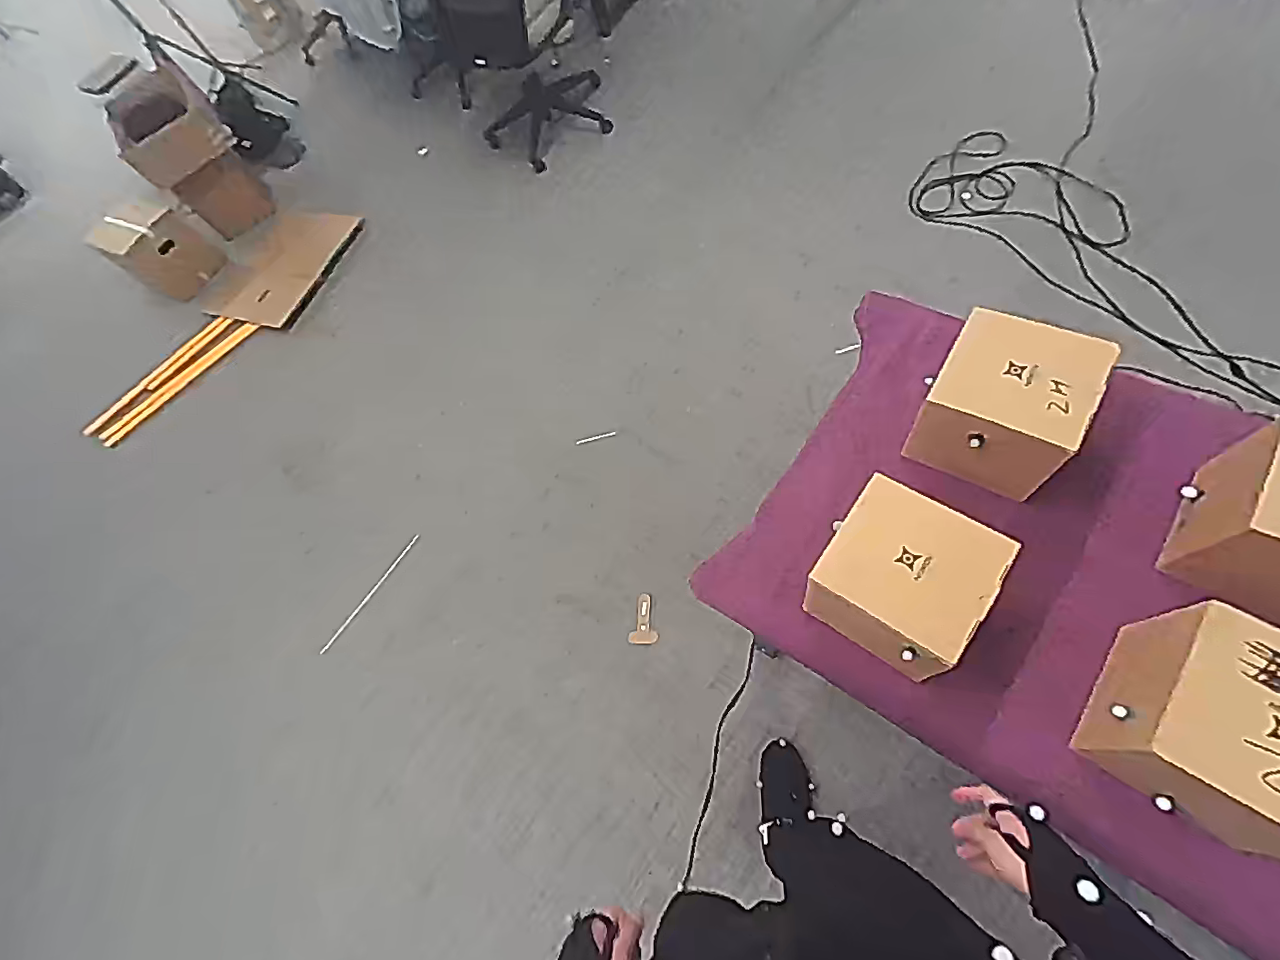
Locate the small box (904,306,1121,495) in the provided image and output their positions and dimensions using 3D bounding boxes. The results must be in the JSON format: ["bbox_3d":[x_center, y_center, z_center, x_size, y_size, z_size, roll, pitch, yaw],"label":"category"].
[{"bbox_3d":[0.491,-0.102,0.743,0.179,0.176,0.168,28,76,24],"label":"small box"}]

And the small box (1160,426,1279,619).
[{"bbox_3d":[0.757,0.053,0.604,0.179,0.176,0.168,29,76,25],"label":"small box"}]

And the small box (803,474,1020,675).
[{"bbox_3d":[0.324,0.127,0.684,0.179,0.176,0.168,31,76,24],"label":"small box"}]
